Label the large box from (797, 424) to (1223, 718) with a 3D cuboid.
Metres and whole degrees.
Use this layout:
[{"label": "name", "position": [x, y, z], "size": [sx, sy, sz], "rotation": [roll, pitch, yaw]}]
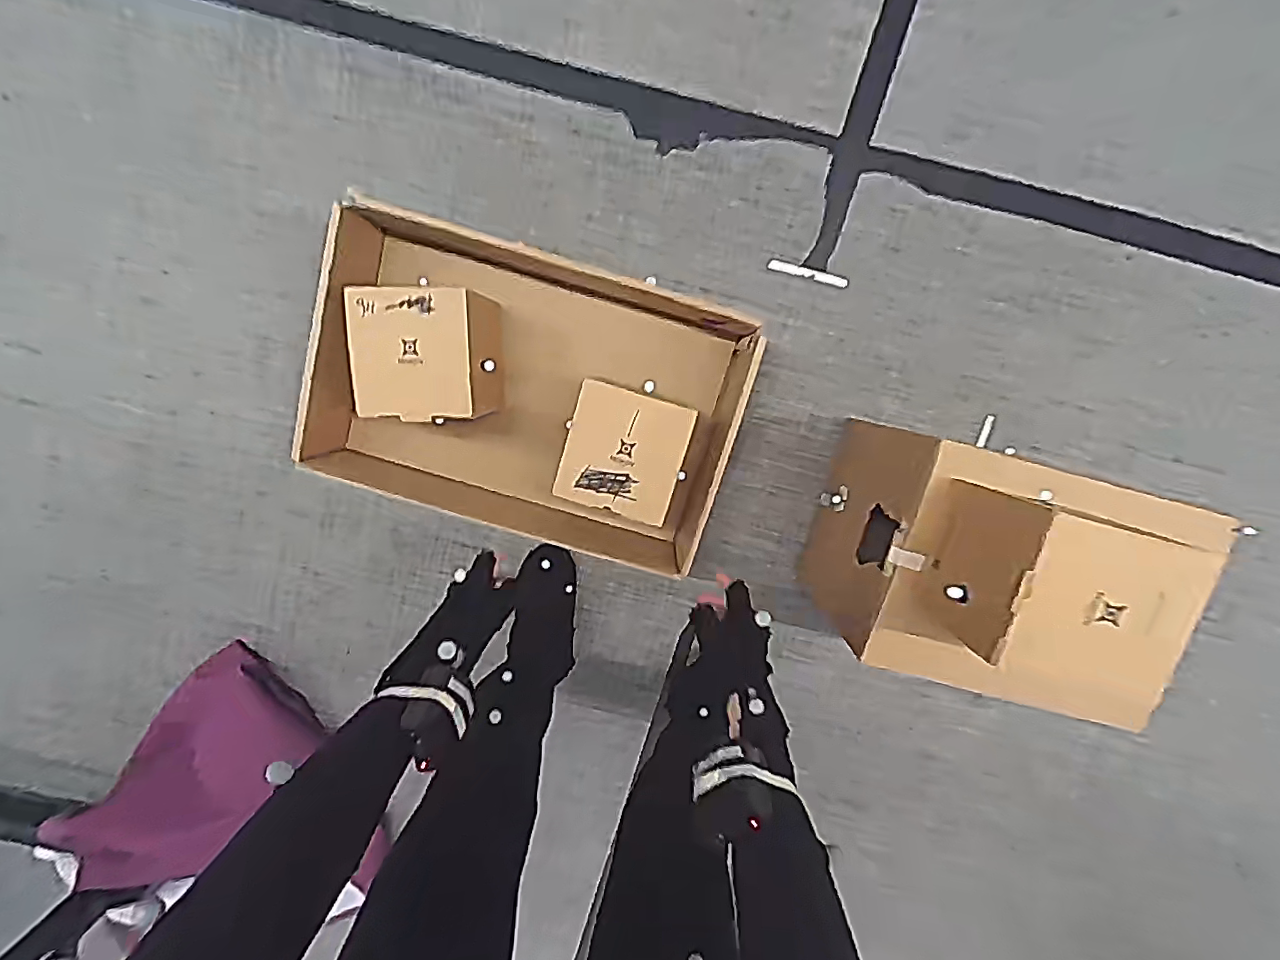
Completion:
[{"label": "large box", "position": [0.516, 0.112, 0.852], "size": [0.408, 0.320, 0.320], "rotation": [14, 101, -3]}]
